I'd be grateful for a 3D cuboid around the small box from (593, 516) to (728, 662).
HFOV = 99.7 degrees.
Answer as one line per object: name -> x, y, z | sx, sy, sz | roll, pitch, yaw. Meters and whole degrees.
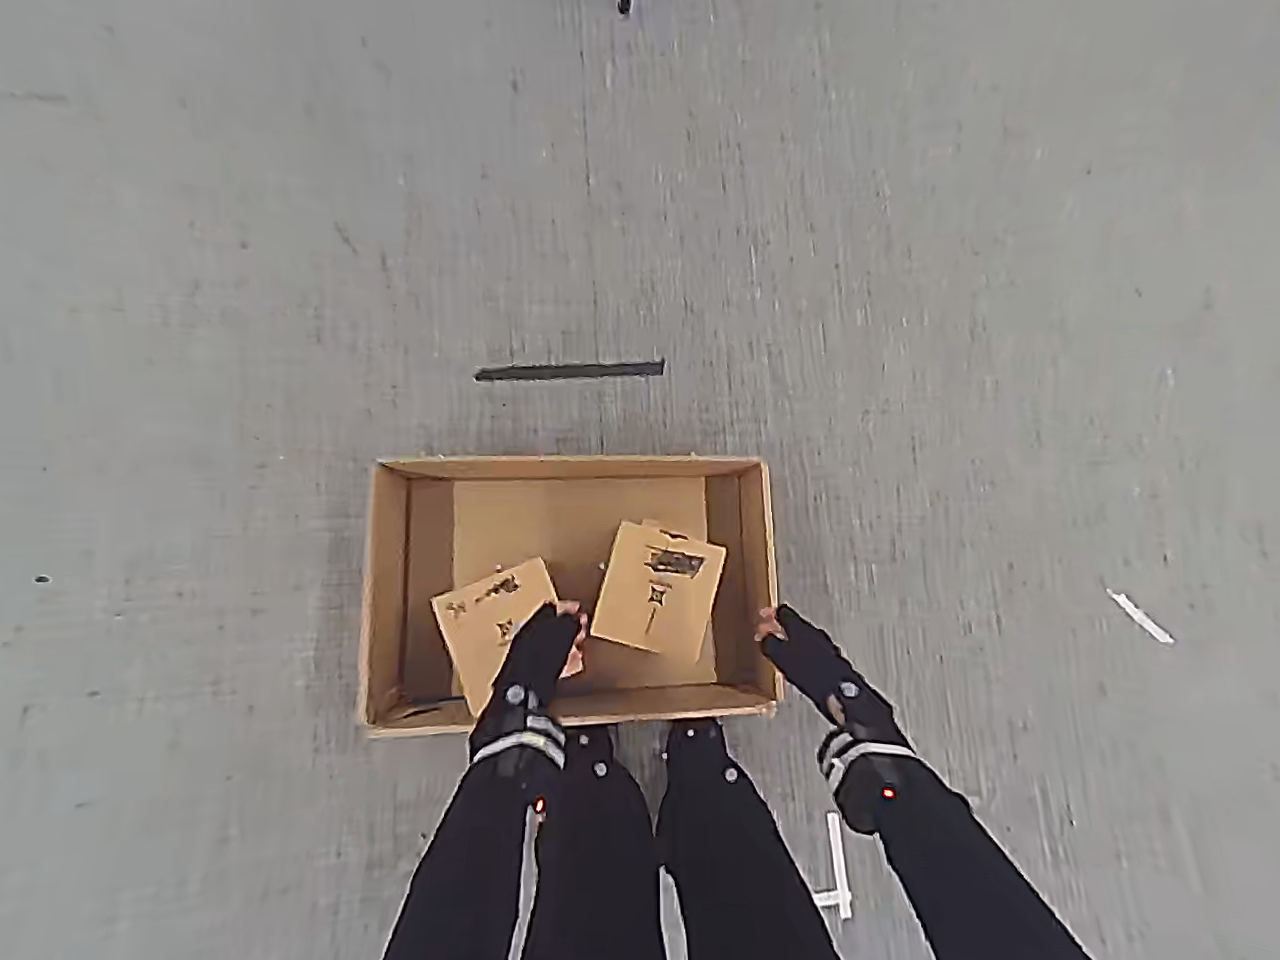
small box -> 0.024, 0.169, 0.865 | 0.168, 0.176, 0.179 | 17, 81, -2
